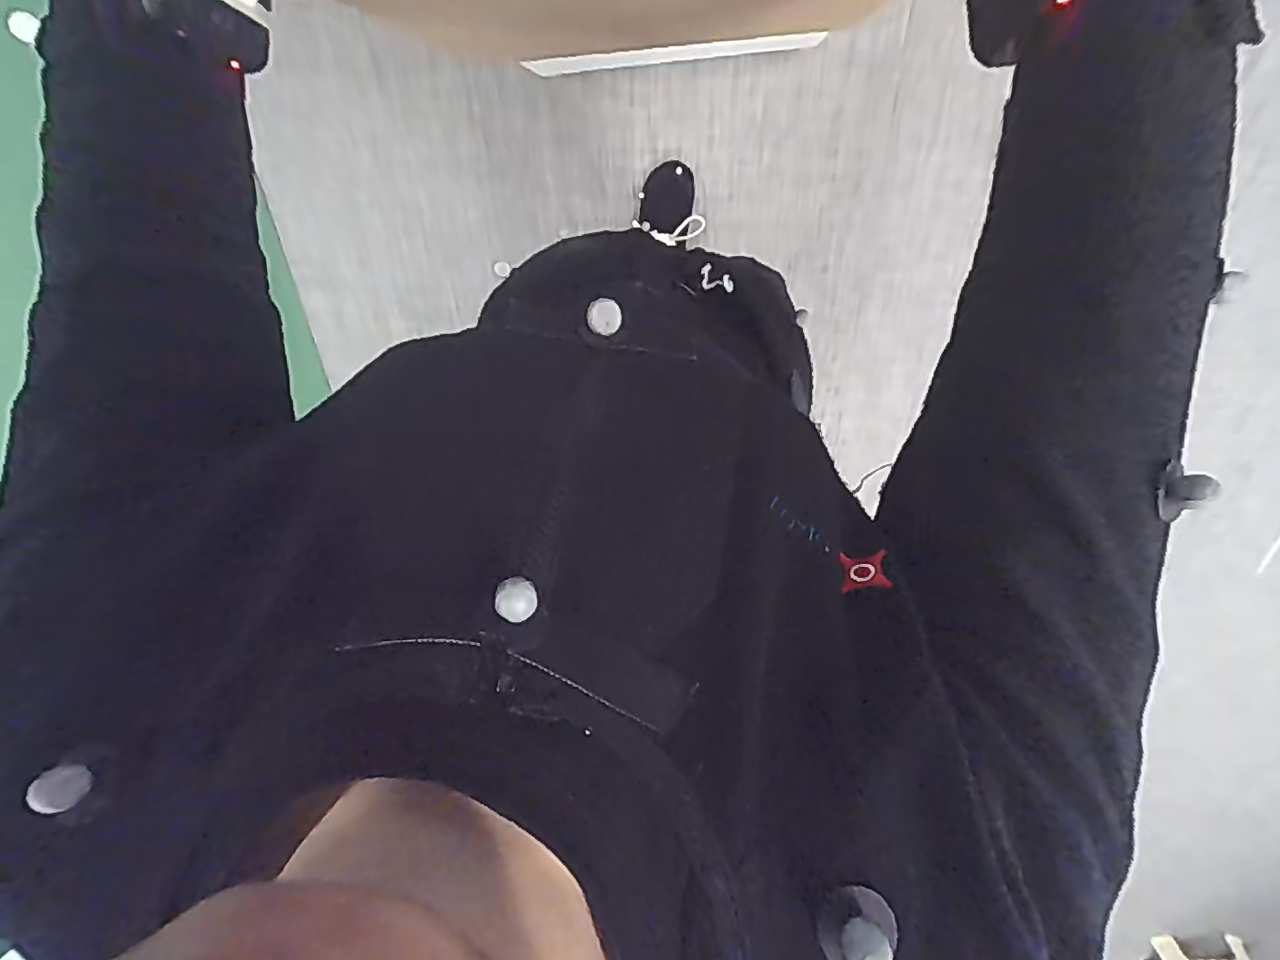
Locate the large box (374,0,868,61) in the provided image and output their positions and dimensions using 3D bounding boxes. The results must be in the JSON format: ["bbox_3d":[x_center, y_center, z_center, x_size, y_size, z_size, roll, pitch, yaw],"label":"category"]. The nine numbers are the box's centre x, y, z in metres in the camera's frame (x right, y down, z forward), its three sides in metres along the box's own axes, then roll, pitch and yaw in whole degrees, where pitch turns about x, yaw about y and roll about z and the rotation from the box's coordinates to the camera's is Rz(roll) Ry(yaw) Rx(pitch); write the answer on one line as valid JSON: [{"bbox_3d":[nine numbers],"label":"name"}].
[{"bbox_3d":[-0.001,-0.508,0.346,0.408,0.320,0.320,-3,121,5],"label":"large box"}]
